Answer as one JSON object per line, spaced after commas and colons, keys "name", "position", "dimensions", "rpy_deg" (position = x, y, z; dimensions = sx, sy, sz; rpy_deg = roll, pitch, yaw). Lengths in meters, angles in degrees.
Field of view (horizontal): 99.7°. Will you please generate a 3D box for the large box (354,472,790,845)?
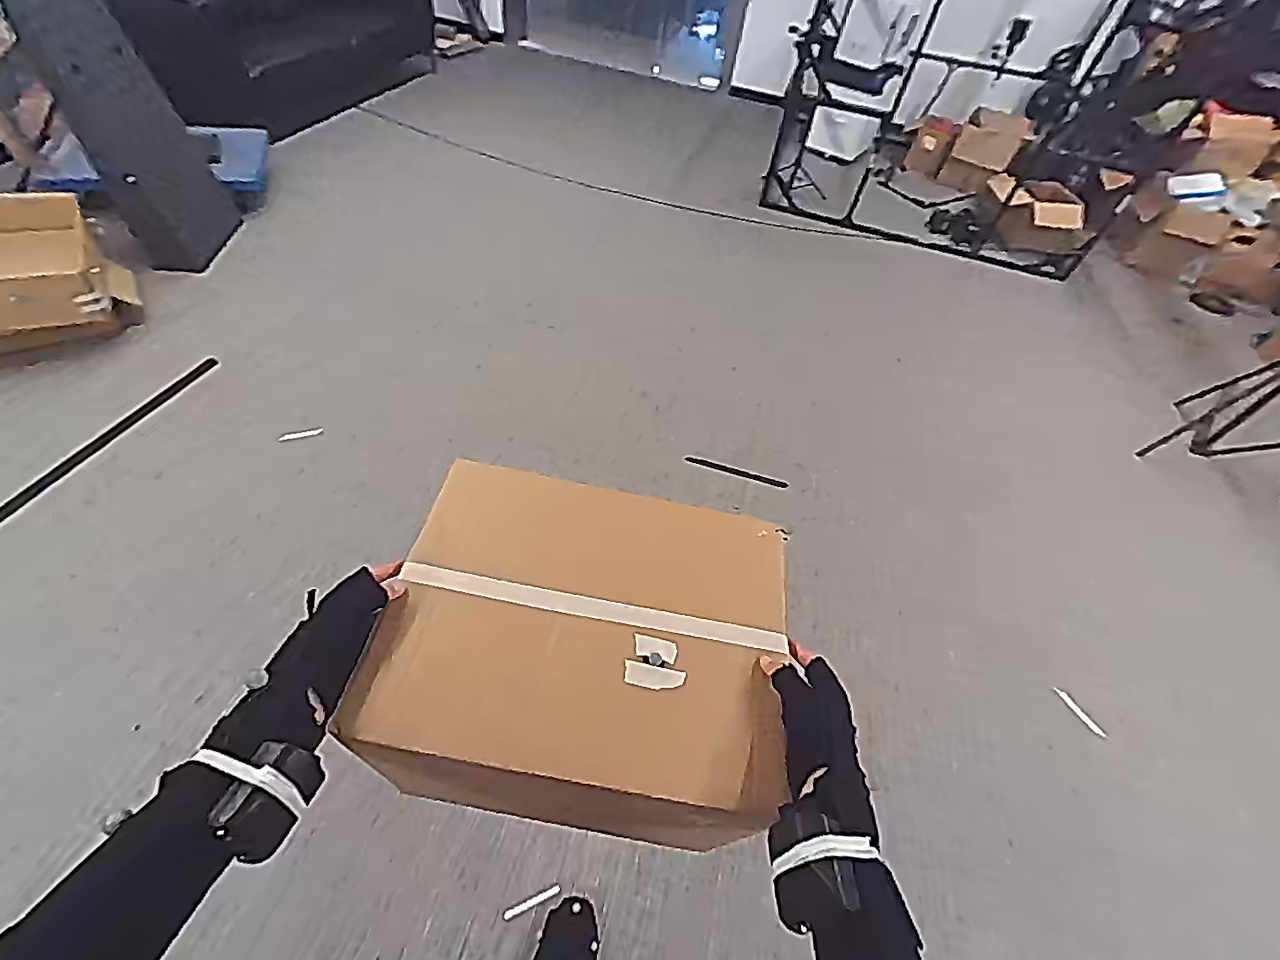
{"name": "large box", "position": [-0.063, 0.234, 0.686], "dimensions": [0.408, 0.320, 0.320], "rpy_deg": [12, 51, -1]}
